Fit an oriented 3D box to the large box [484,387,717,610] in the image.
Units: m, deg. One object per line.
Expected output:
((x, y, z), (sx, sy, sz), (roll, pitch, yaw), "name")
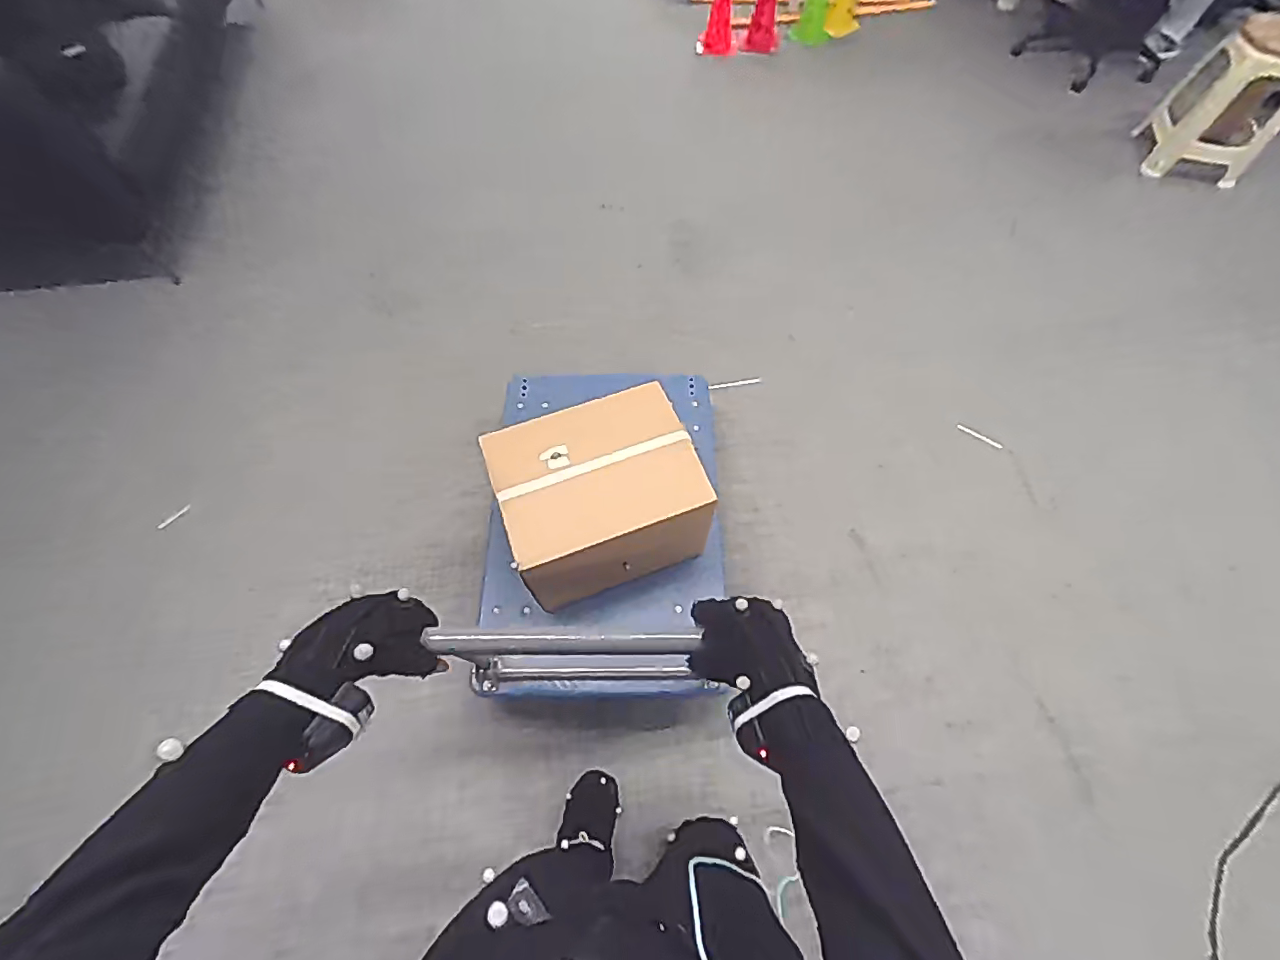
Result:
((-0.083, 0.052, 1.219), (0.408, 0.320, 0.320), (-19, 64, -9), "large box")
